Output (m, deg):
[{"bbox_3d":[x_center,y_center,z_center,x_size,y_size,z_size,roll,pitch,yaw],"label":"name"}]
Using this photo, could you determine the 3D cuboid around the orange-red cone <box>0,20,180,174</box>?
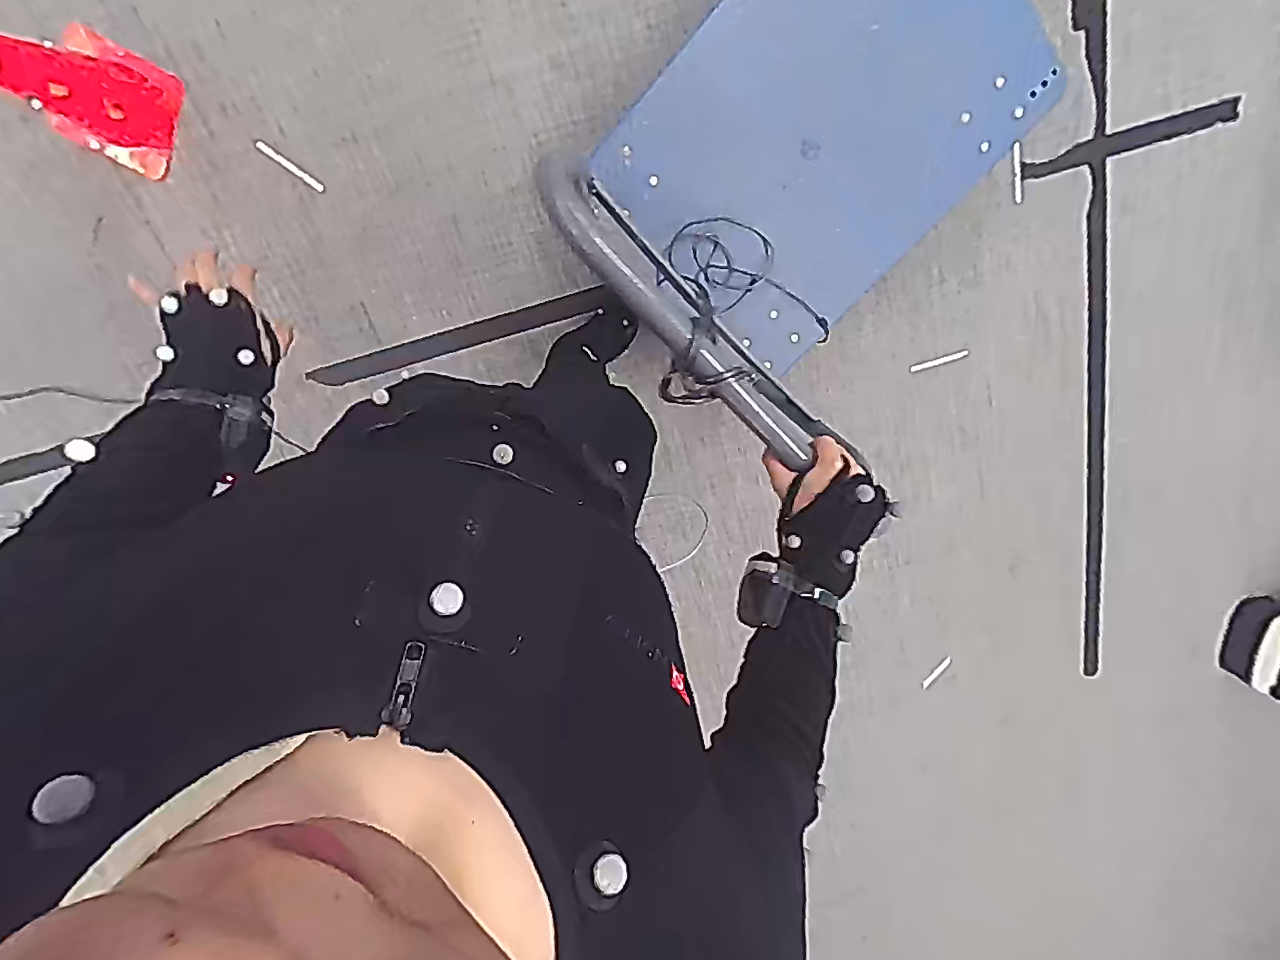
[{"bbox_3d":[-0.984,-0.662,0.872,0.199,0.360,0.198,26,106,-16],"label":"orange-red cone"}]
